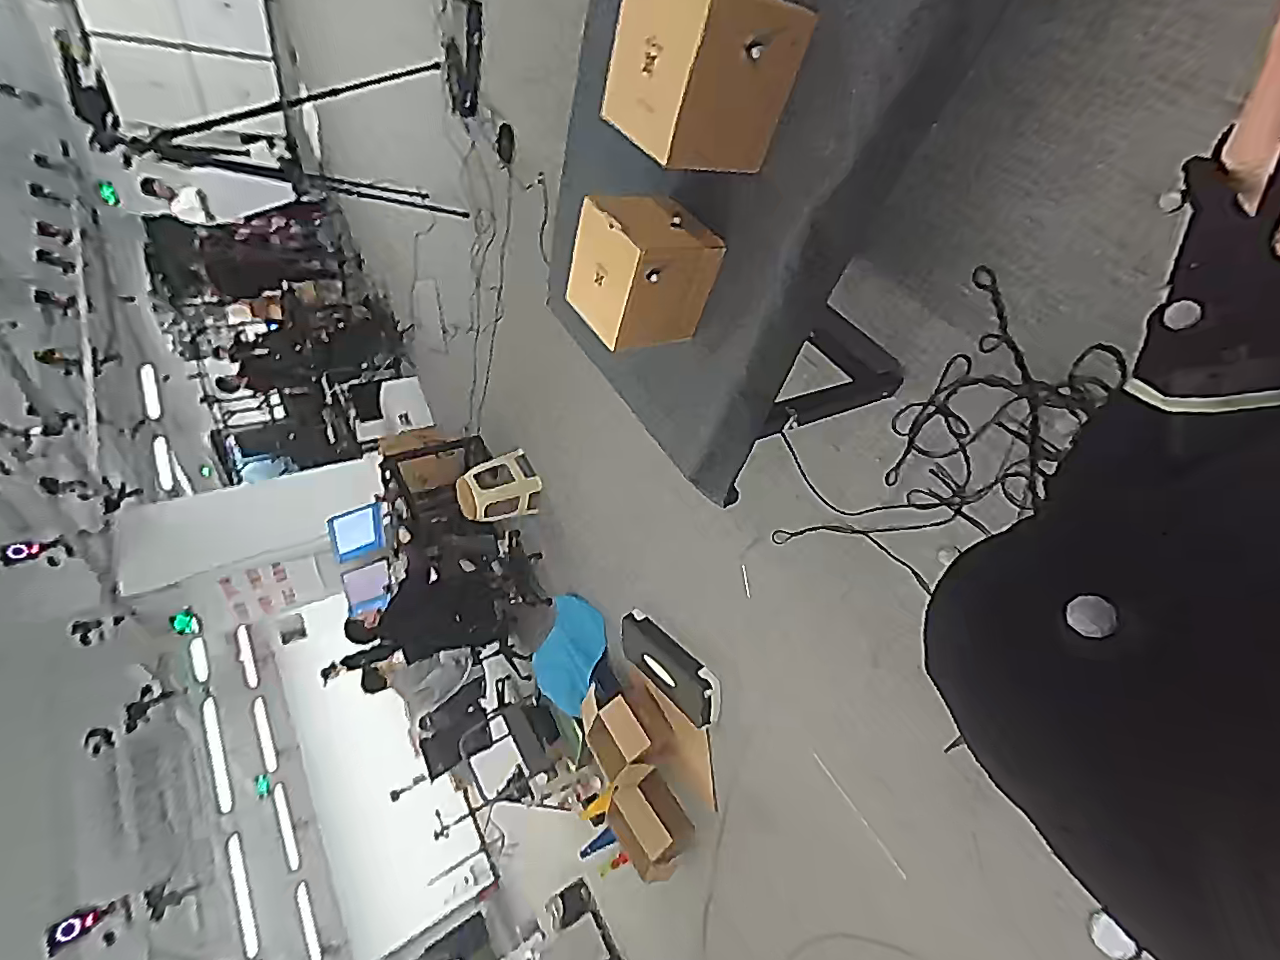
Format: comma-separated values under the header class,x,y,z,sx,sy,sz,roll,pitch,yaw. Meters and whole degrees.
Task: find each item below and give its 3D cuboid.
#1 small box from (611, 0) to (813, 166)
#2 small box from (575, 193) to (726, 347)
class,x,y,z,sx,sy,sz,roll,pitch,yaw
small box,0.088,-0.526,0.688,0.168,0.176,0.179,55,145,29
small box,0.014,-0.345,0.889,0.168,0.176,0.179,53,143,29
